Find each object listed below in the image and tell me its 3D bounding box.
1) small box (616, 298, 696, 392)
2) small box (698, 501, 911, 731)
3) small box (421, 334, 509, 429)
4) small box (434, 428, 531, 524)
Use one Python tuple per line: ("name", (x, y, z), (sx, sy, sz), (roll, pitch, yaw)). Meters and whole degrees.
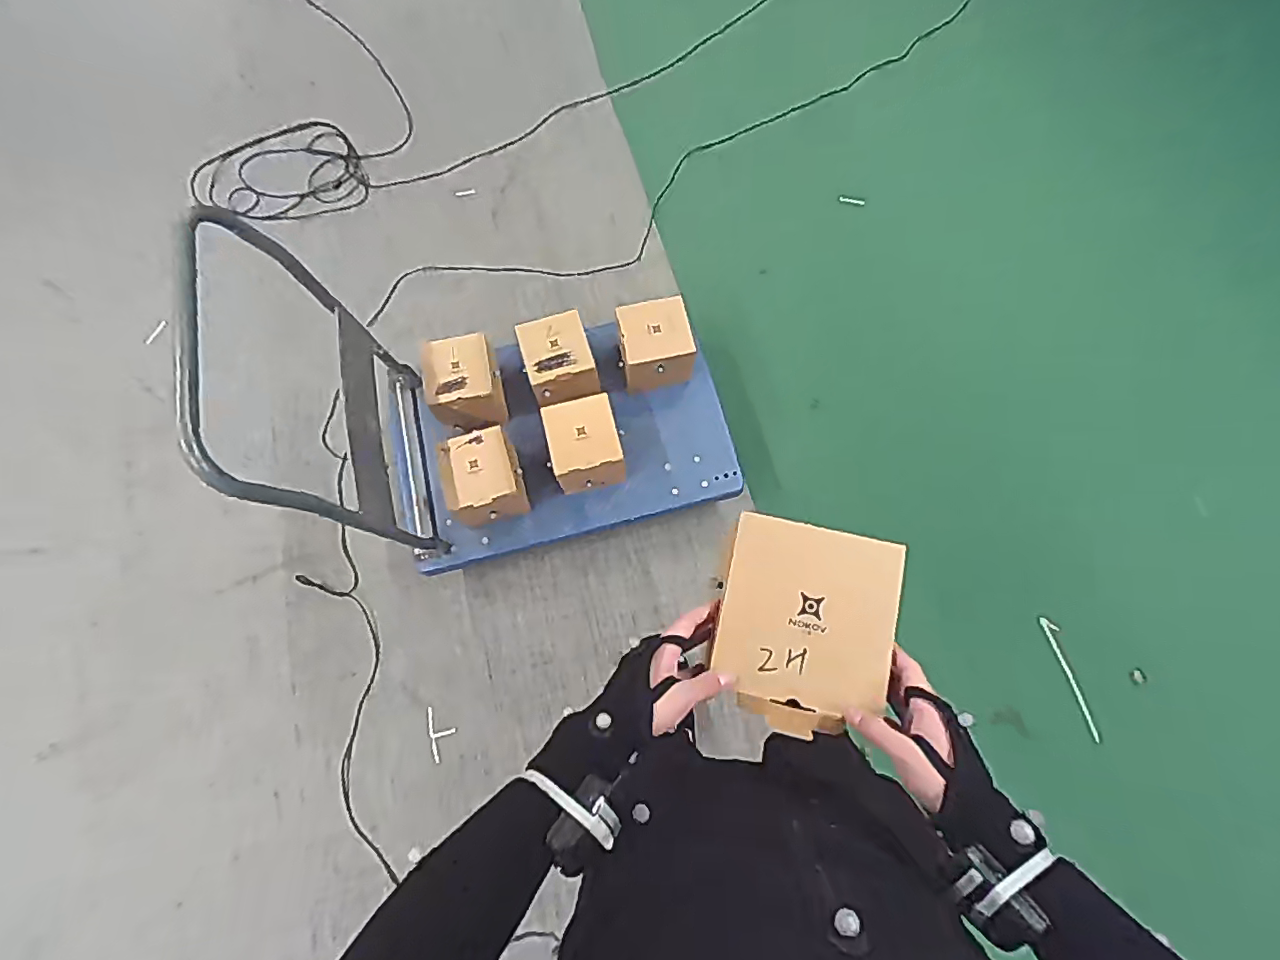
("small box", (0.042, -0.346, 1.420), (0.179, 0.176, 0.168), (-12, 74, -3))
("small box", (0.165, 0.141, 0.597), (0.168, 0.176, 0.179), (18, 81, 9))
("small box", (-0.444, -0.244, 1.391), (0.168, 0.176, 0.179), (-12, 73, -4))
("small box", (-0.376, -0.001, 1.315), (0.168, 0.176, 0.179), (-16, 74, -5))
